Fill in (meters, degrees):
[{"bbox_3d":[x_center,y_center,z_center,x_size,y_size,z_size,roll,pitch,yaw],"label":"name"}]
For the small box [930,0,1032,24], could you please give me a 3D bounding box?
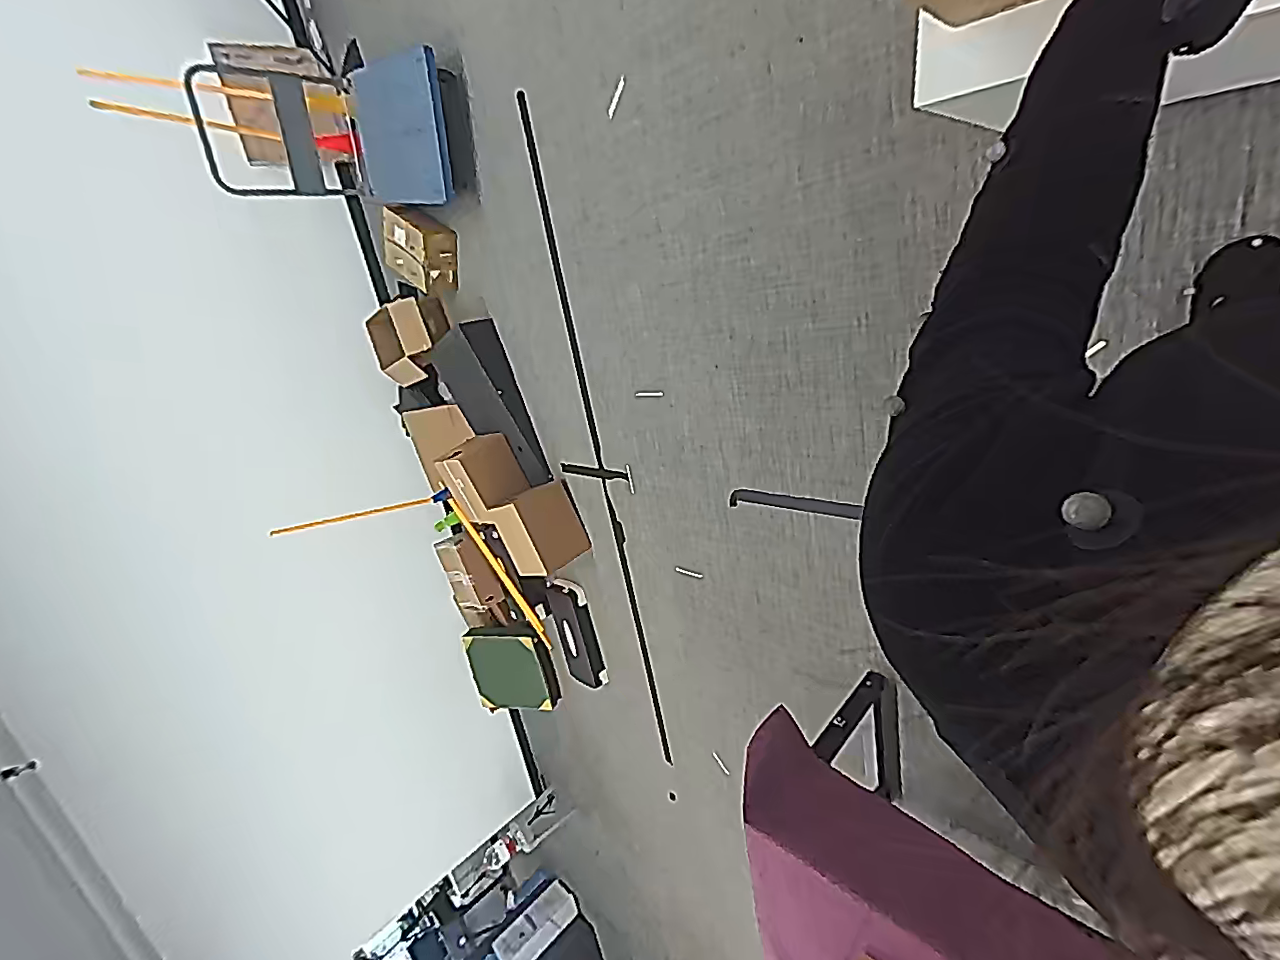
[{"bbox_3d":[0.389,-0.617,0.554,0.168,0.176,0.179,16,120,43],"label":"small box"}]
